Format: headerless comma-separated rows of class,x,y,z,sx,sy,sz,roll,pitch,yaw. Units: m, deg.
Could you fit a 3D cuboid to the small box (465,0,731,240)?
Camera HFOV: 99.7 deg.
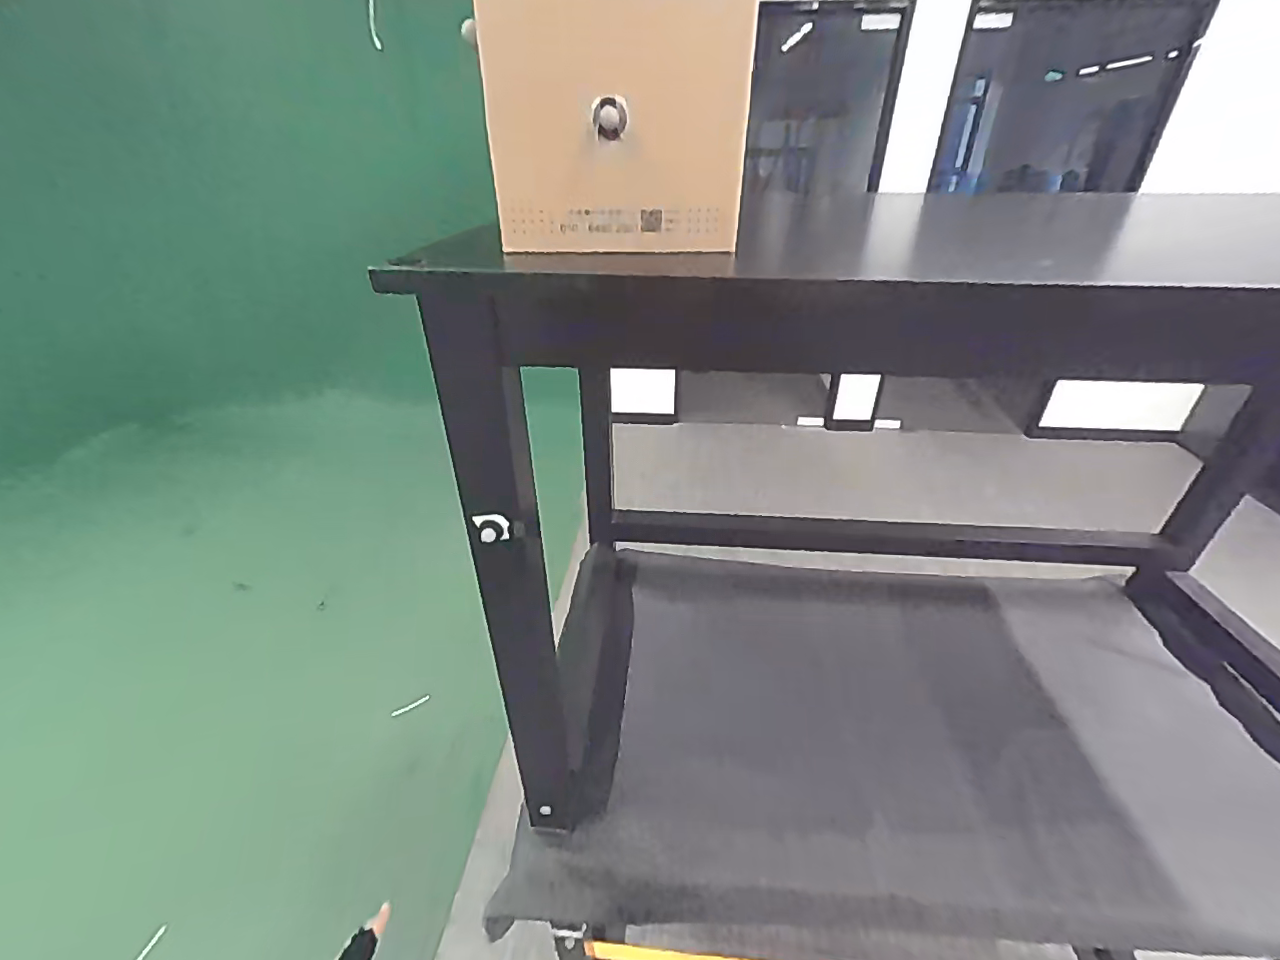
small box,-0.025,-0.289,0.422,0.168,0.176,0.179,0,32,-2
